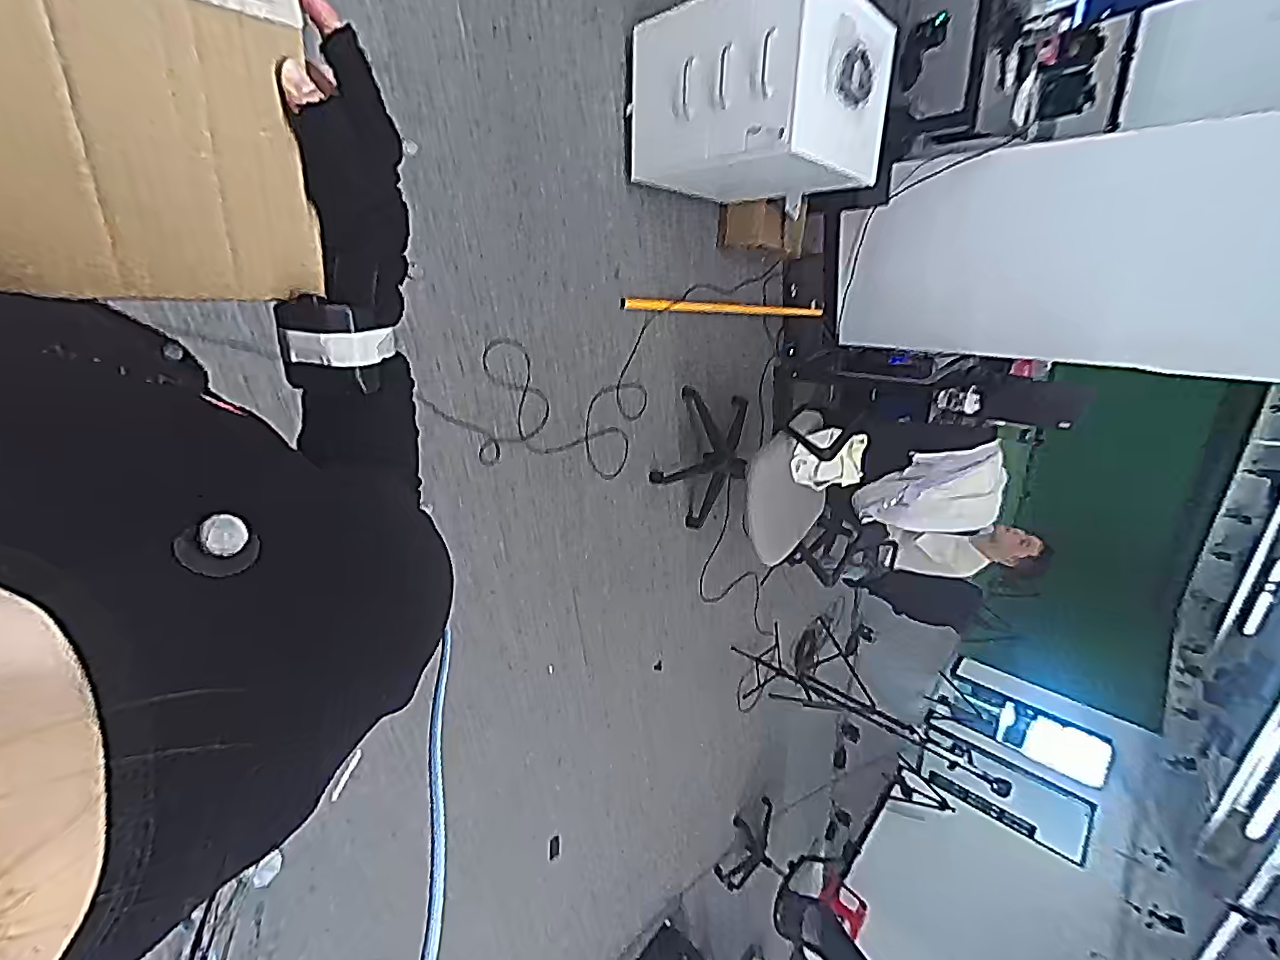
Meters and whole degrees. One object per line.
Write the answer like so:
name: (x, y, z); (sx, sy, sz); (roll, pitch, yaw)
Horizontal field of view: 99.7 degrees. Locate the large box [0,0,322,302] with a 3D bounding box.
large box: (-0.438, -0.287, 0.268); (0.408, 0.320, 0.320); (-15, 131, -39)
